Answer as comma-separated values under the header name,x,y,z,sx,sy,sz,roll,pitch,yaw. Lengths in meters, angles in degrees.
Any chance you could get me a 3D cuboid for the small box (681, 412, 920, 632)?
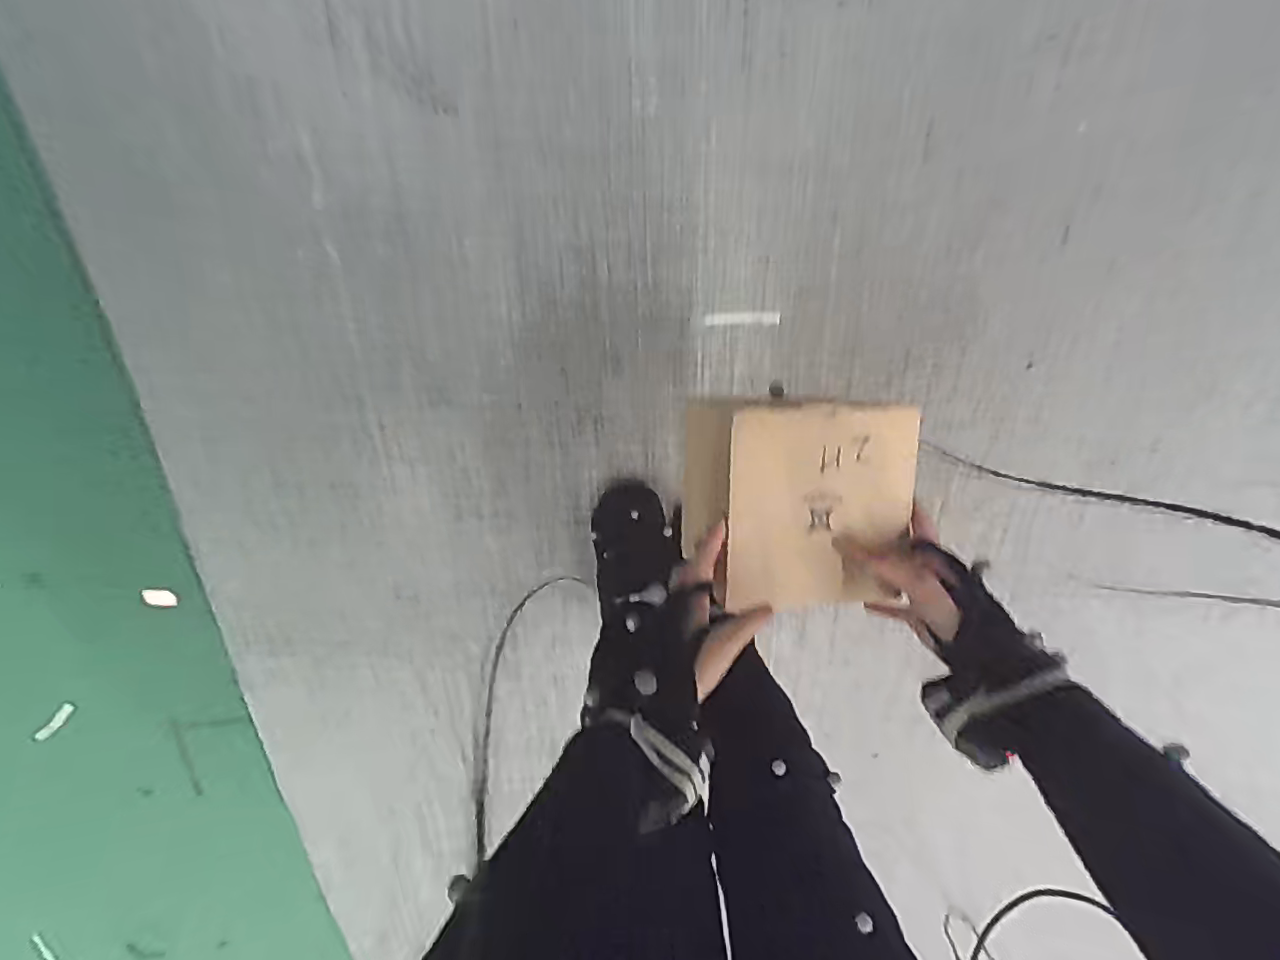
name,x,y,z,sx,sy,sz,roll,pitch,yaw
small box,0.138,0.027,0.527,0.168,0.176,0.179,-2,101,-8
